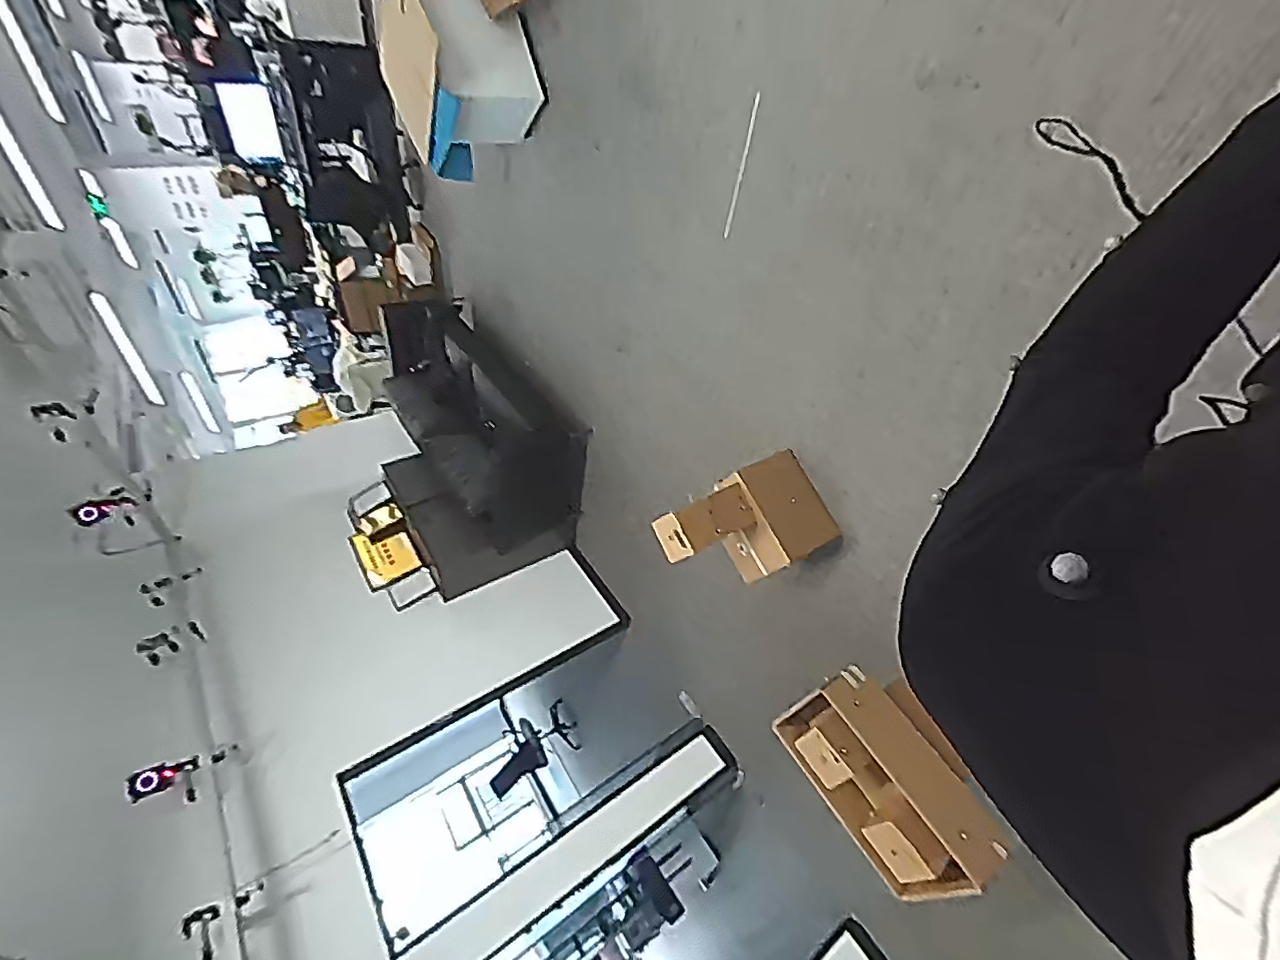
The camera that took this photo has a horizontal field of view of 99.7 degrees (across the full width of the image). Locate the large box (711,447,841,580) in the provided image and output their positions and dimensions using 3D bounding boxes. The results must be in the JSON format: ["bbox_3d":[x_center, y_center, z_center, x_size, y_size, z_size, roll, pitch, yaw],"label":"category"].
[{"bbox_3d":[0.529,0.136,2.220,0.408,0.320,0.320,60,149,12],"label":"large box"}]

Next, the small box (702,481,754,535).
[{"bbox_3d":[0.306,0.123,2.081,0.168,0.176,0.179,64,148,6],"label":"small box"}]

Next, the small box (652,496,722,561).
[{"bbox_3d":[0.180,0.176,1.990,0.168,0.176,0.179,64,149,6],"label":"small box"}]
